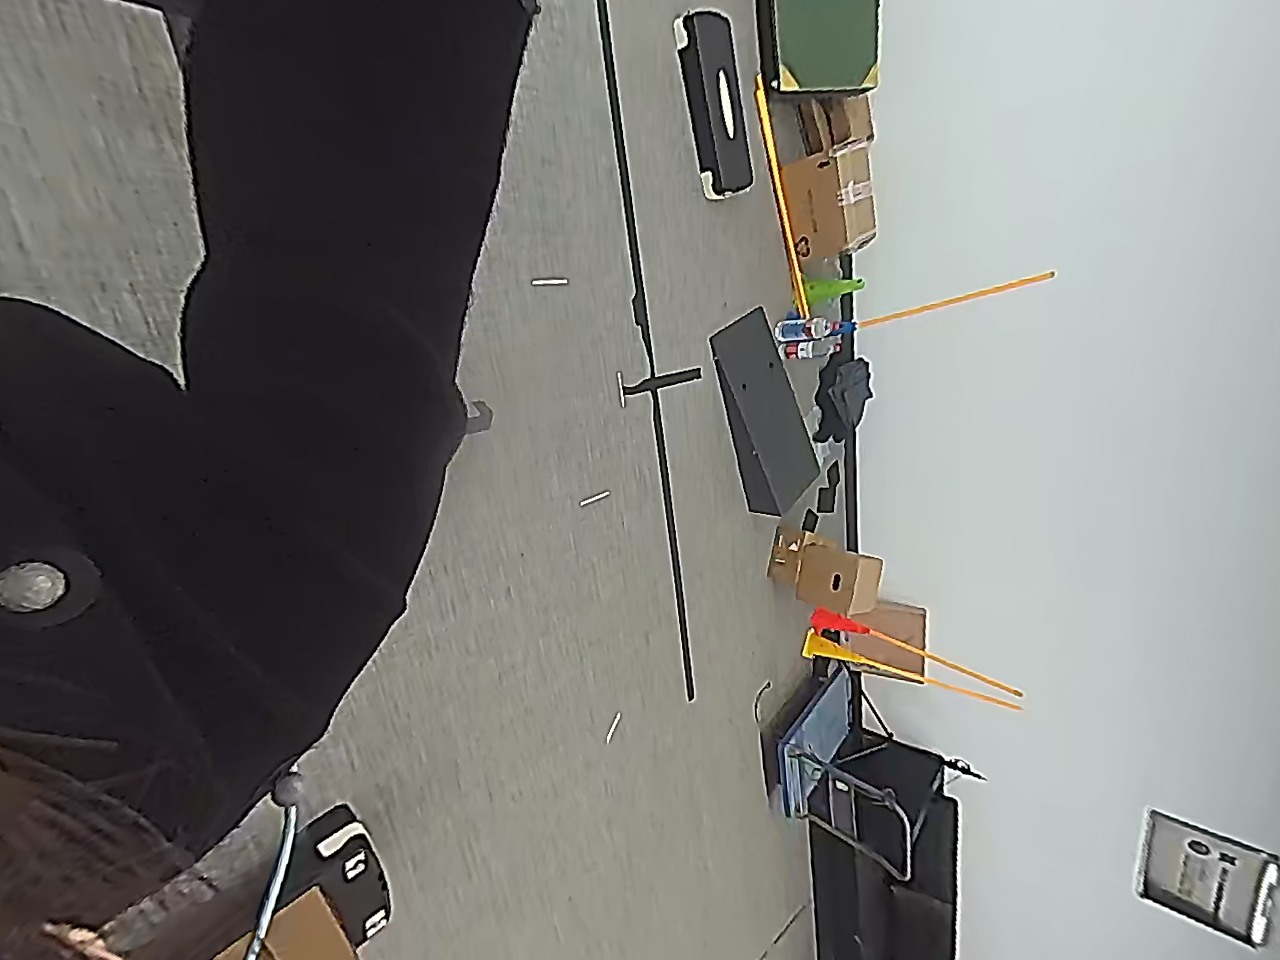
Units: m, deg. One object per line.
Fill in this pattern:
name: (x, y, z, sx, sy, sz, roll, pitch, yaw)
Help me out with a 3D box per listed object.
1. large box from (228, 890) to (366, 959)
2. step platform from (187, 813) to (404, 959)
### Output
large box: (-0.764, 1.184, 1.093, 0.408, 0.320, 0.320, -22, 111, -44)
step platform: (-0.922, 1.129, 1.268, 0.684, 0.204, 0.286, -15, 106, -46)
